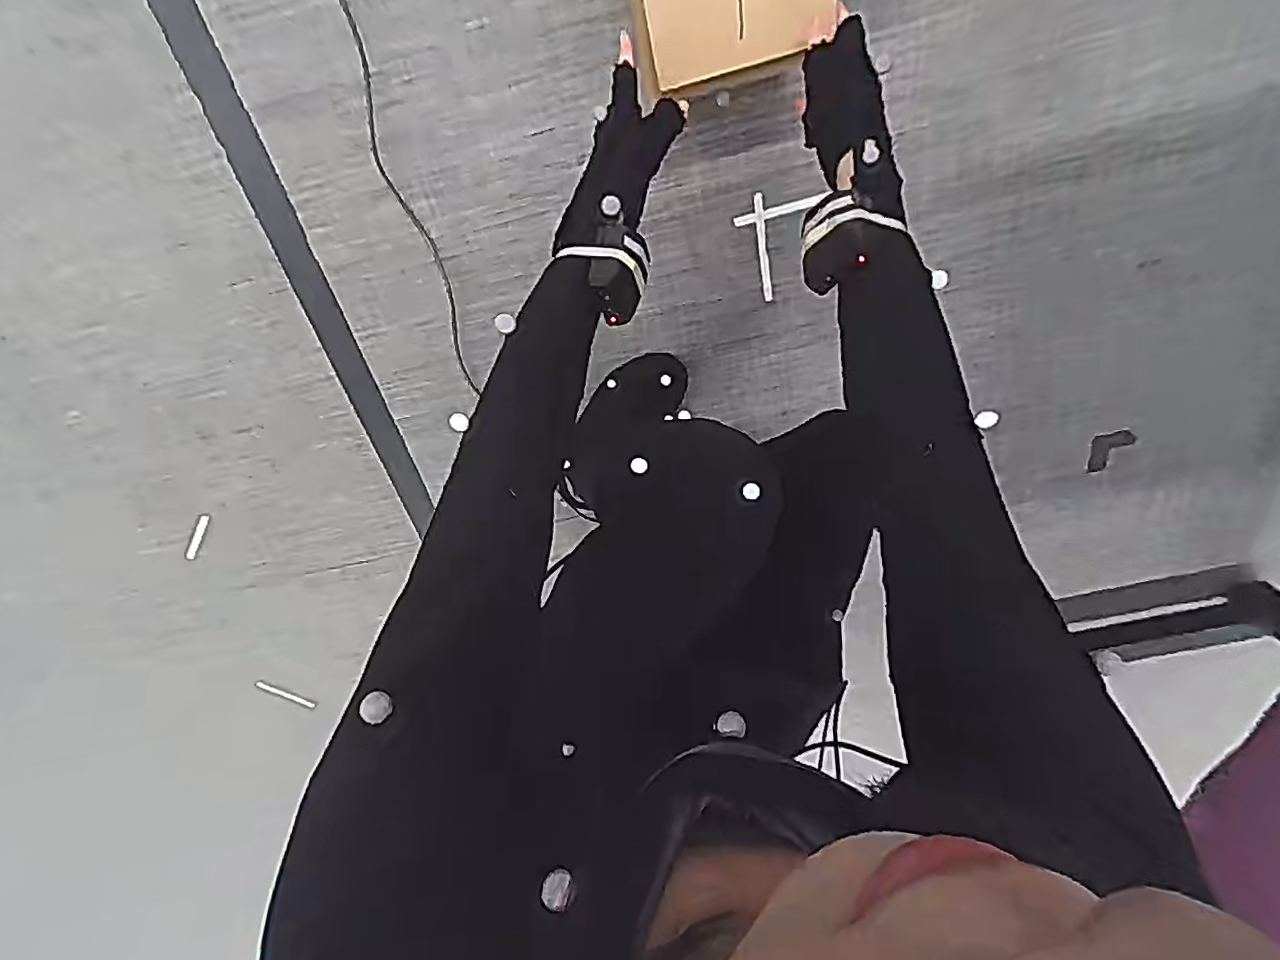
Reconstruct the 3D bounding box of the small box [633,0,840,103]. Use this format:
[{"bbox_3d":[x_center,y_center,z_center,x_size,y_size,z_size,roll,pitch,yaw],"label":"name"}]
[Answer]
[{"bbox_3d":[0.076,-0.486,0.511,0.168,0.176,0.179,-12,120,5],"label":"small box"}]
